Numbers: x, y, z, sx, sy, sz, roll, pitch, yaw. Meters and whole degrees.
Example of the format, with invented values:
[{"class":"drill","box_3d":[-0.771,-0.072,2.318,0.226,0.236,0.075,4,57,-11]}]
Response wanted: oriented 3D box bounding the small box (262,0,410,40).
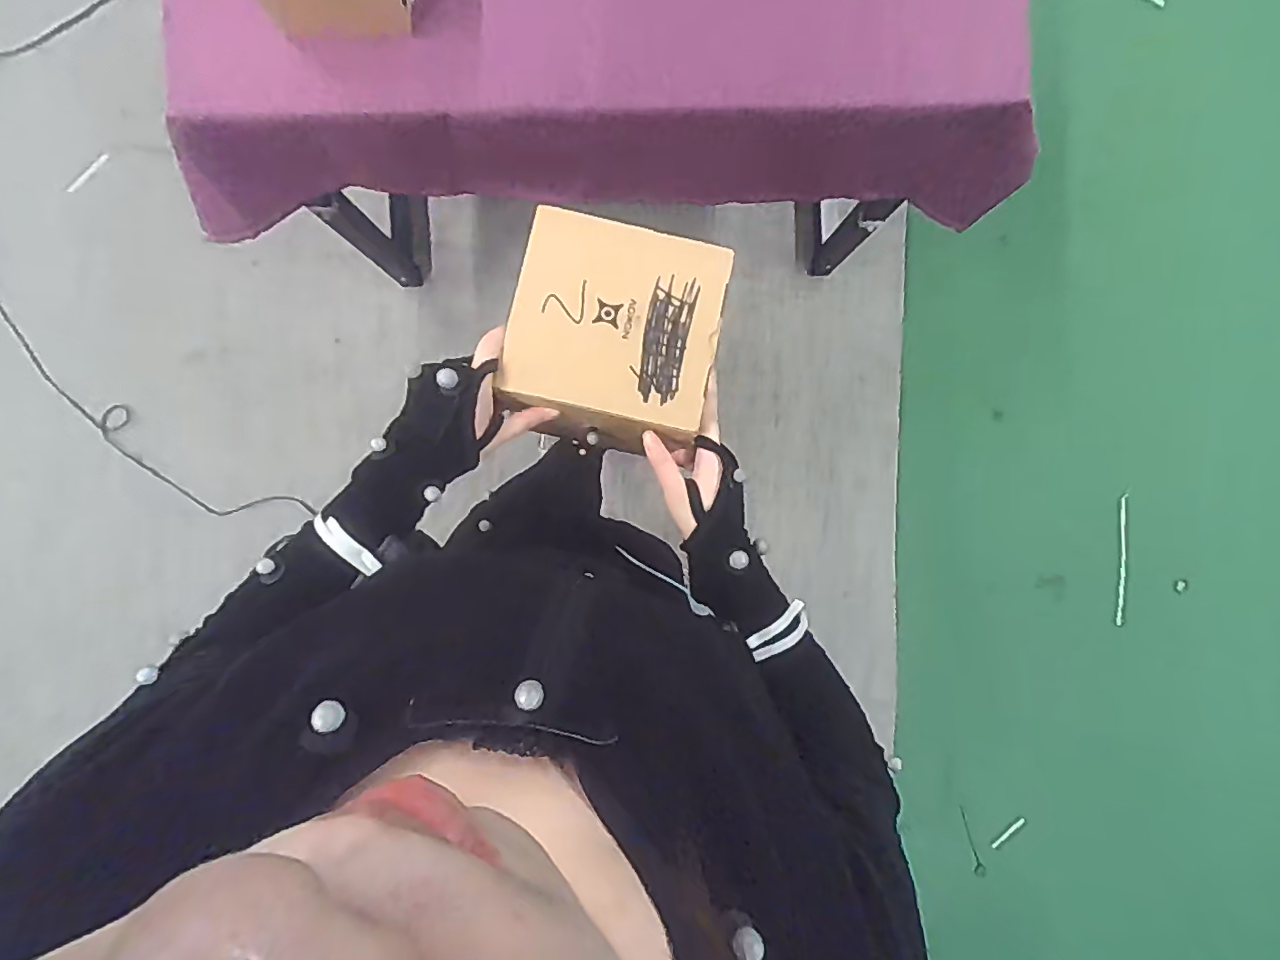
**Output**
[{"class":"small box","box_3d":[-0.393,-0.685,0.663,0.179,0.176,0.168,0,90,-2]}]
